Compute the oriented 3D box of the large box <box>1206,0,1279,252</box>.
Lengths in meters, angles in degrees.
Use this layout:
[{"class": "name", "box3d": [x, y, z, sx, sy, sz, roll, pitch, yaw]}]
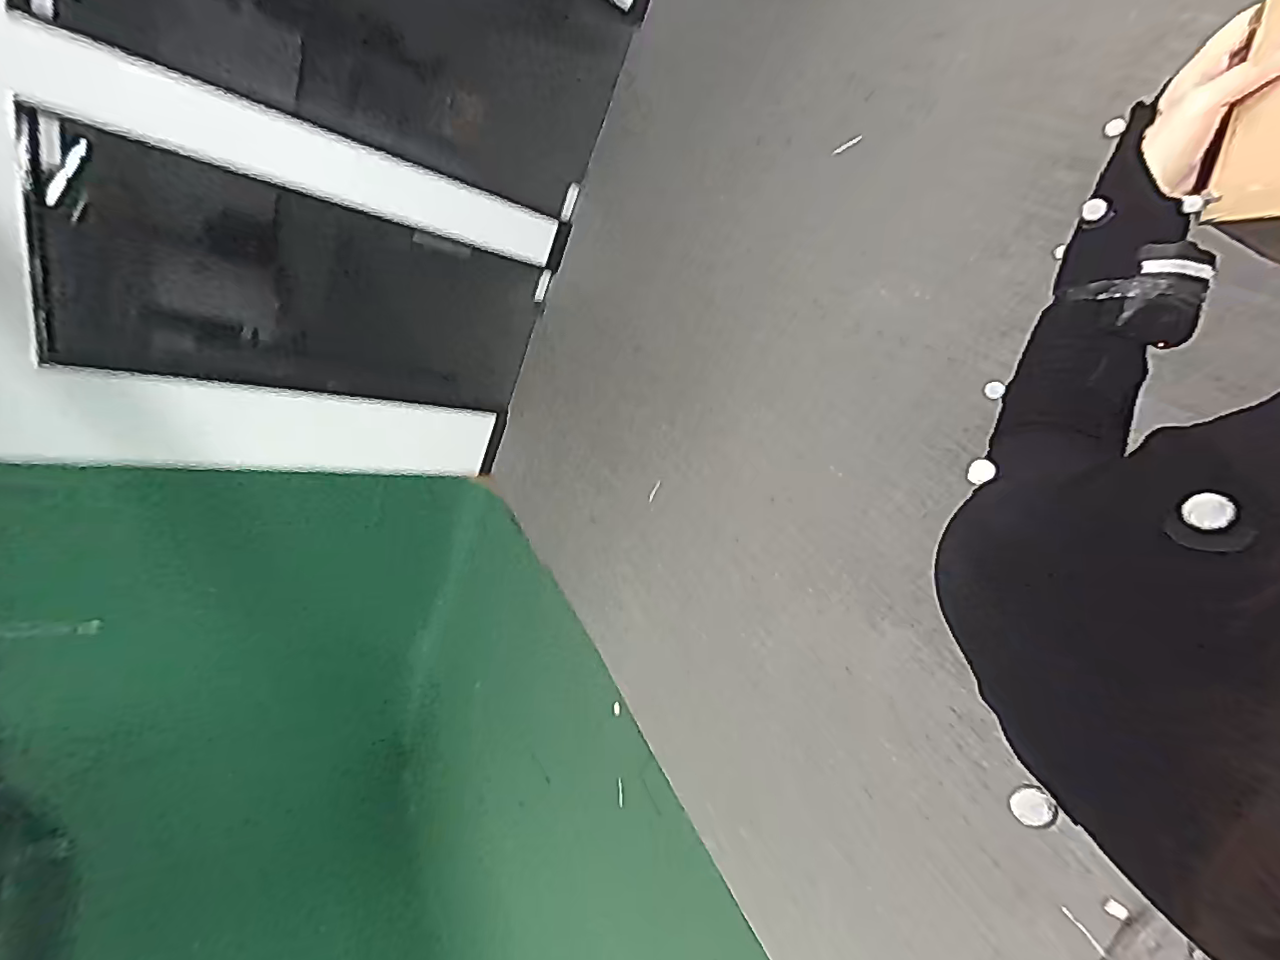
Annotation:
[{"class": "large box", "box3d": [0.661, -0.308, 0.281, 0.408, 0.320, 0.320, 25, 116, 56]}]
